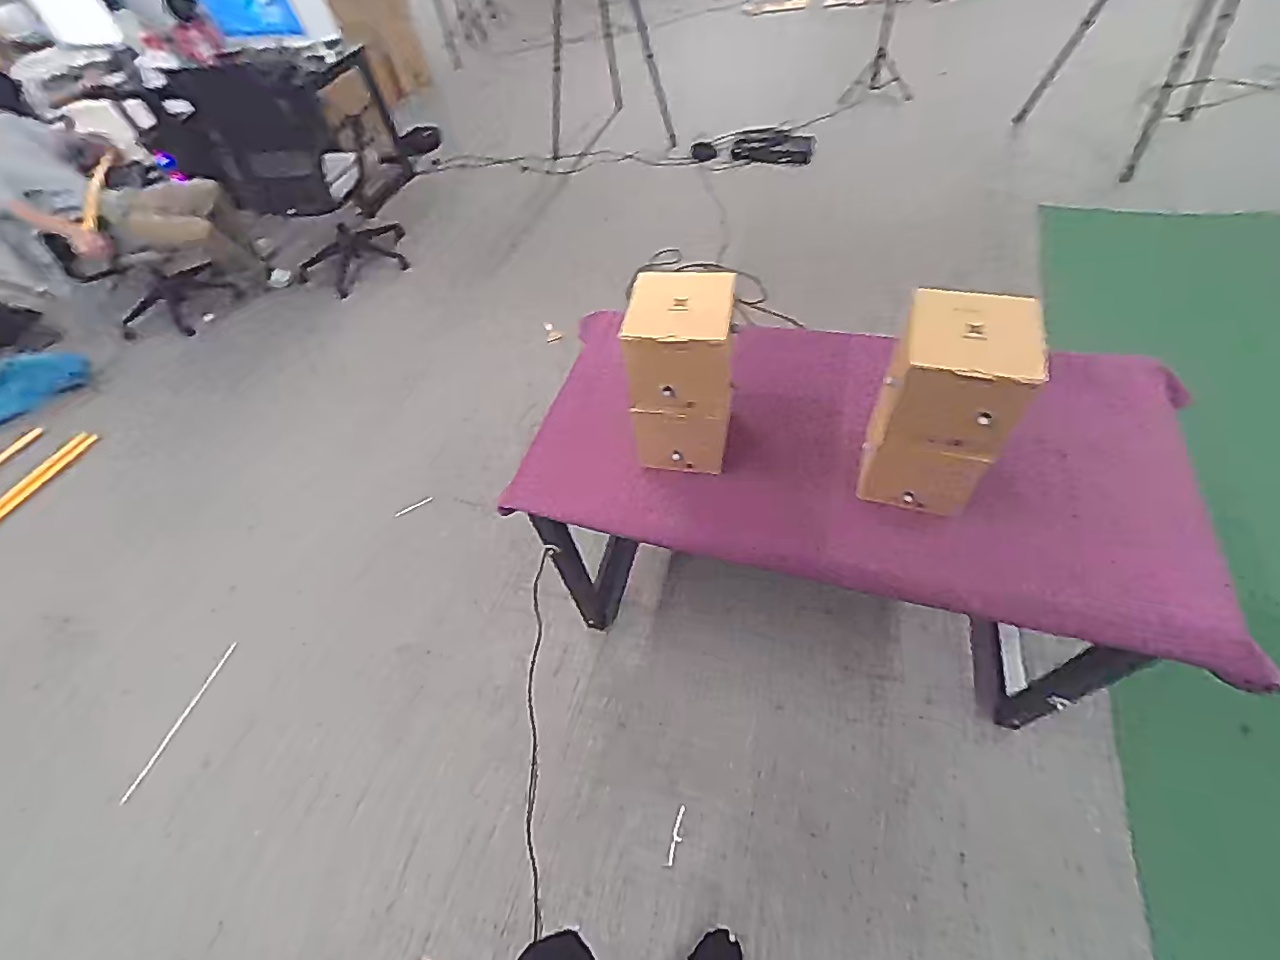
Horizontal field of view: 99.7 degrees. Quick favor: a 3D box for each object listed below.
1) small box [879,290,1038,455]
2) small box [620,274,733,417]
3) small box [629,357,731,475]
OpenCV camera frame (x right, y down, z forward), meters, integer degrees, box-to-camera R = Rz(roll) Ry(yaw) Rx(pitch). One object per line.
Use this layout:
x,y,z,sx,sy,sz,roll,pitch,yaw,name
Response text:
0.473,-0.160,0.822,0.168,0.176,0.179,12,57,17,small box
0.070,-0.232,0.939,0.168,0.176,0.179,5,55,11,small box
0.085,-0.134,1.067,0.168,0.176,0.179,6,55,13,small box
